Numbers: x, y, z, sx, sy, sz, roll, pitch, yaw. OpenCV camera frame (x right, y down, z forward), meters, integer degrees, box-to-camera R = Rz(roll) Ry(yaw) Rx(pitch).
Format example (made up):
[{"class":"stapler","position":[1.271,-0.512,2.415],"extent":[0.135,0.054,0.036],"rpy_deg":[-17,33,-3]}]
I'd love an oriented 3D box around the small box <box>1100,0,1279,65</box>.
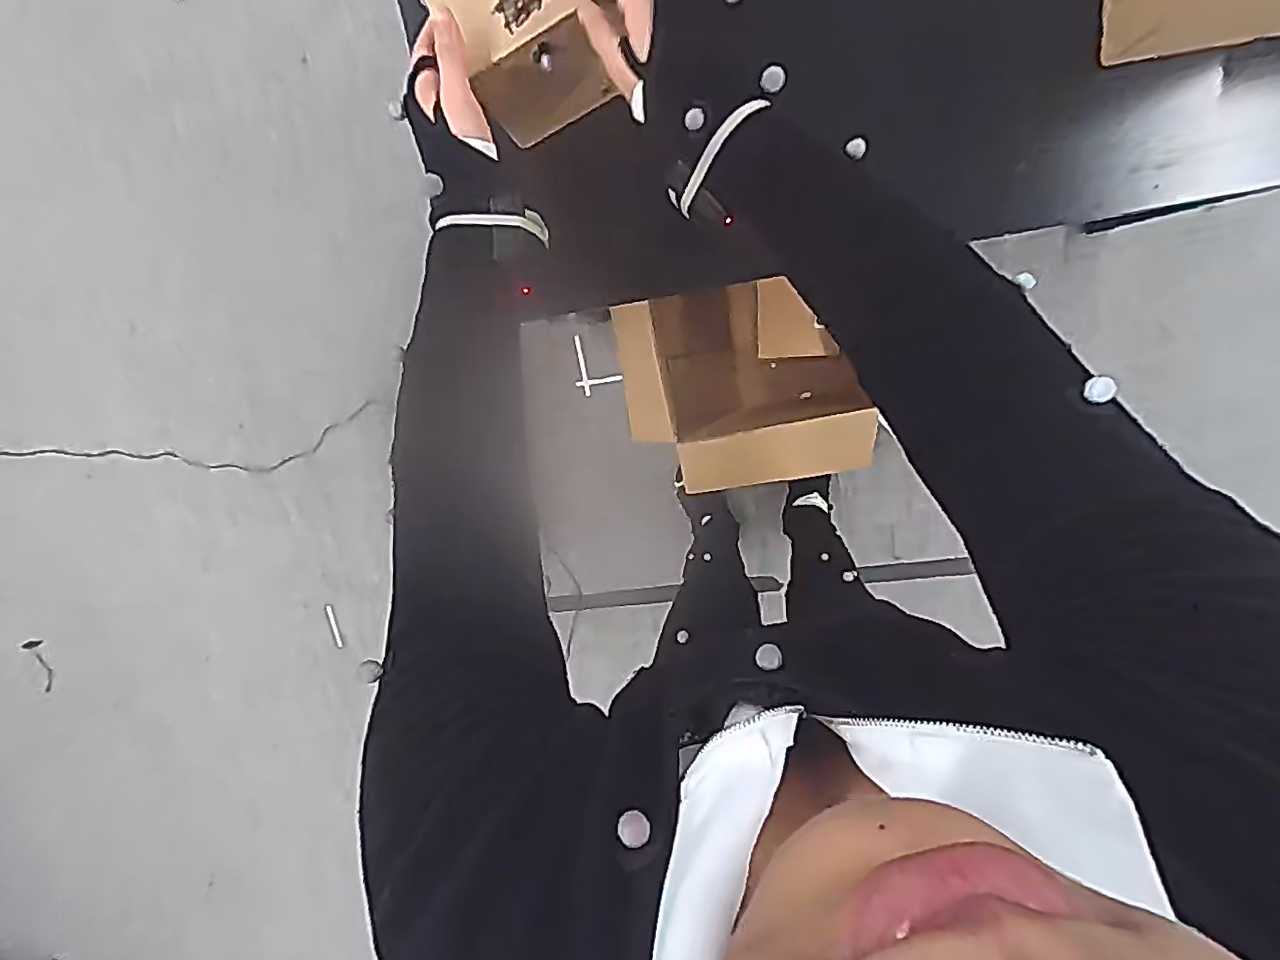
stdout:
[{"class":"small box","position":[0.507,-0.460,0.417],"extent":[0.179,0.176,0.168],"rpy_deg":[-7,104,5]}]

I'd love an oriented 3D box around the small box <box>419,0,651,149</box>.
[{"class":"small box","position":[-0.098,-0.432,0.468],"extent":[0.168,0.176,0.179],"rpy_deg":[-23,103,9]}]
